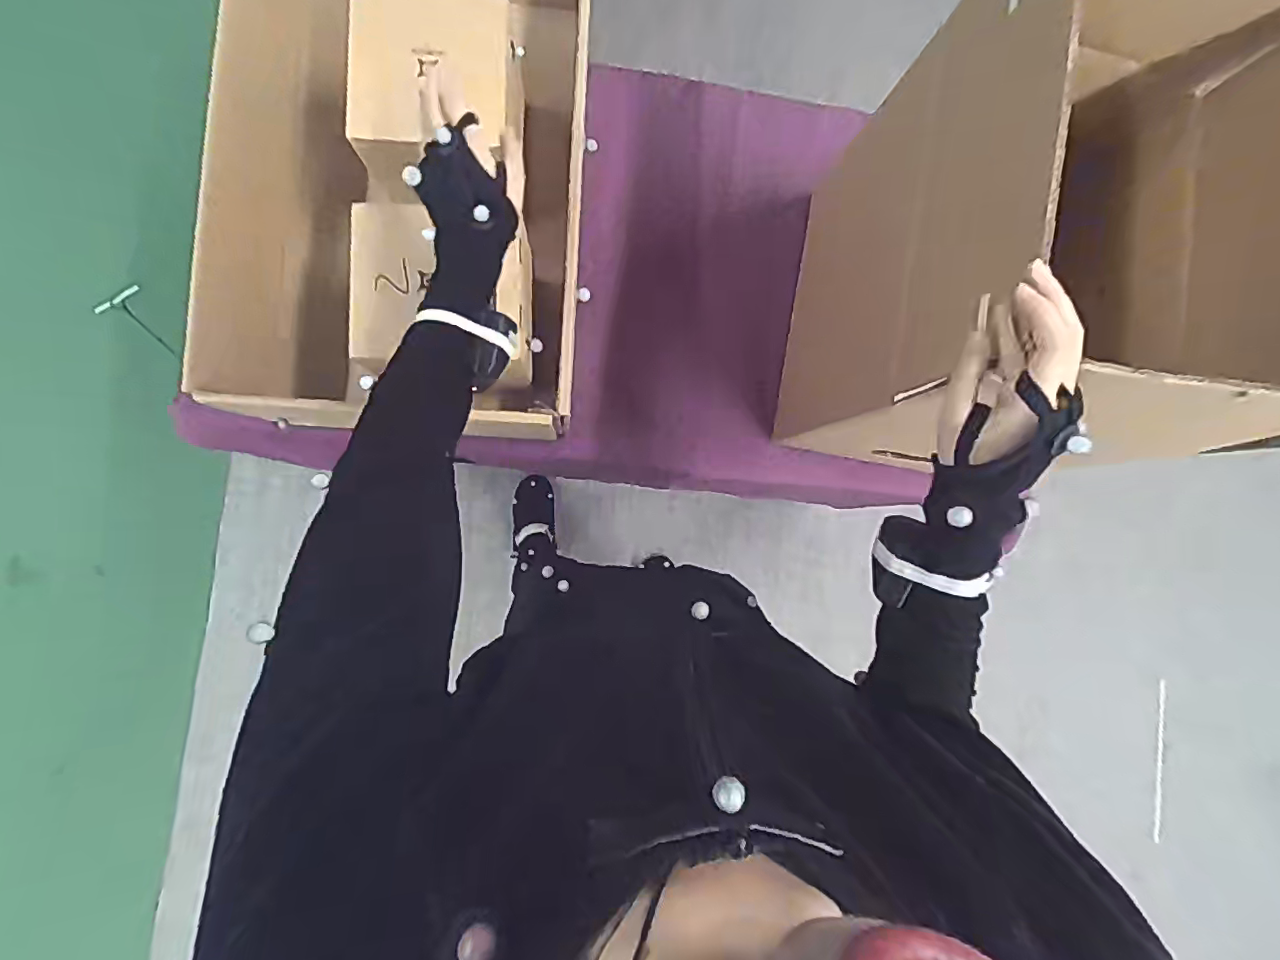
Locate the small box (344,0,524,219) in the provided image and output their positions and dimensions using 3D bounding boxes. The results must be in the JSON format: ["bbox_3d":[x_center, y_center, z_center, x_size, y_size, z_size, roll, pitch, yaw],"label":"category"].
[{"bbox_3d":[-0.235,-0.443,0.657,0.168,0.176,0.179,1,87,-4],"label":"small box"}]
